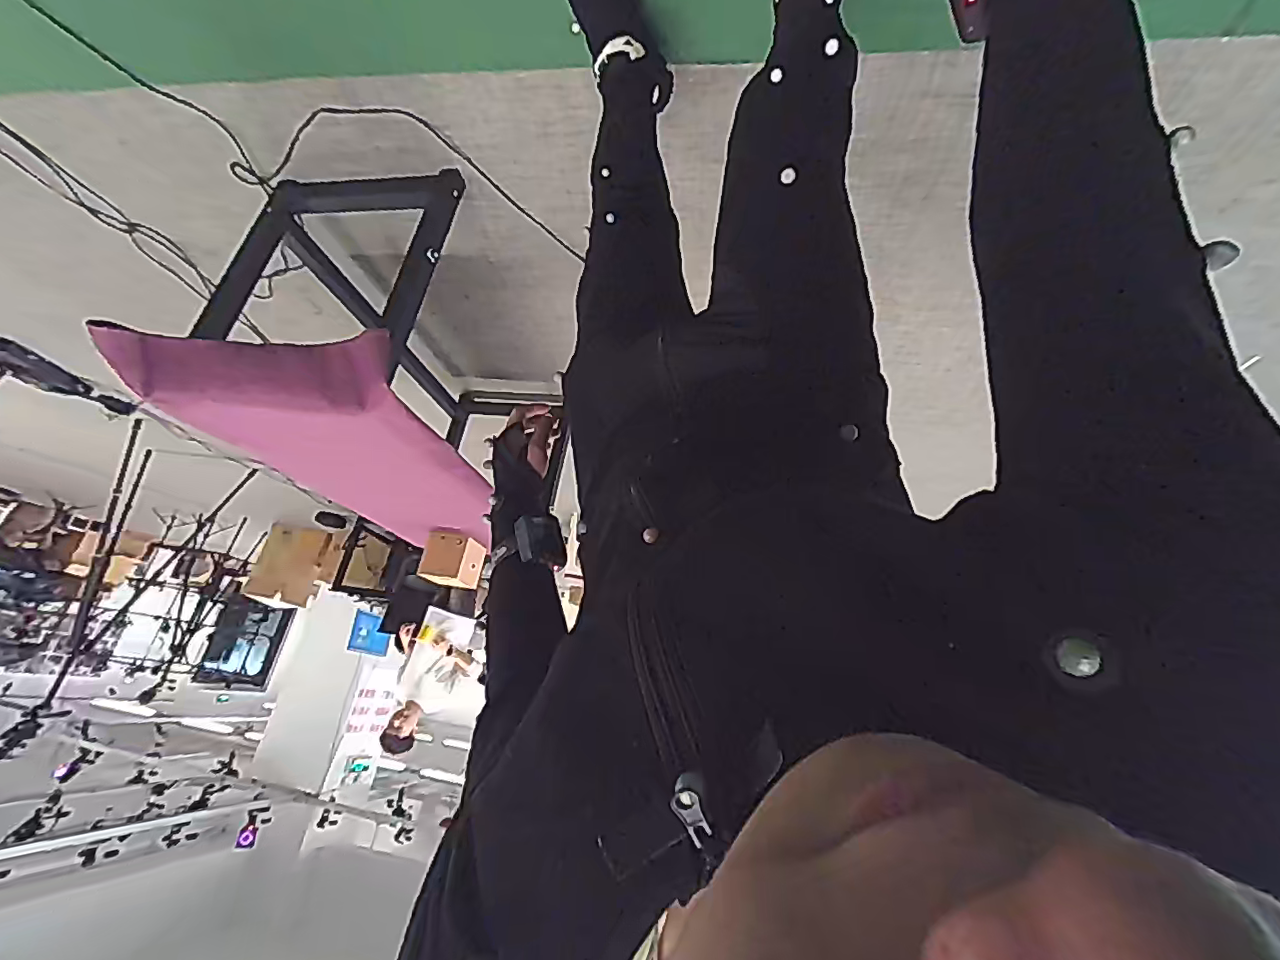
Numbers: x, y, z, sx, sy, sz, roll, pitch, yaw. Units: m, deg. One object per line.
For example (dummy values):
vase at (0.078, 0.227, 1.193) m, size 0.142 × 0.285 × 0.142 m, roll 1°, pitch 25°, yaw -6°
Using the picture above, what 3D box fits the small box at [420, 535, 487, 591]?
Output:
small box at (-0.711, 0.319, 2.079) m, size 0.168 × 0.176 × 0.179 m, roll 6°, pitch 159°, yaw 11°
